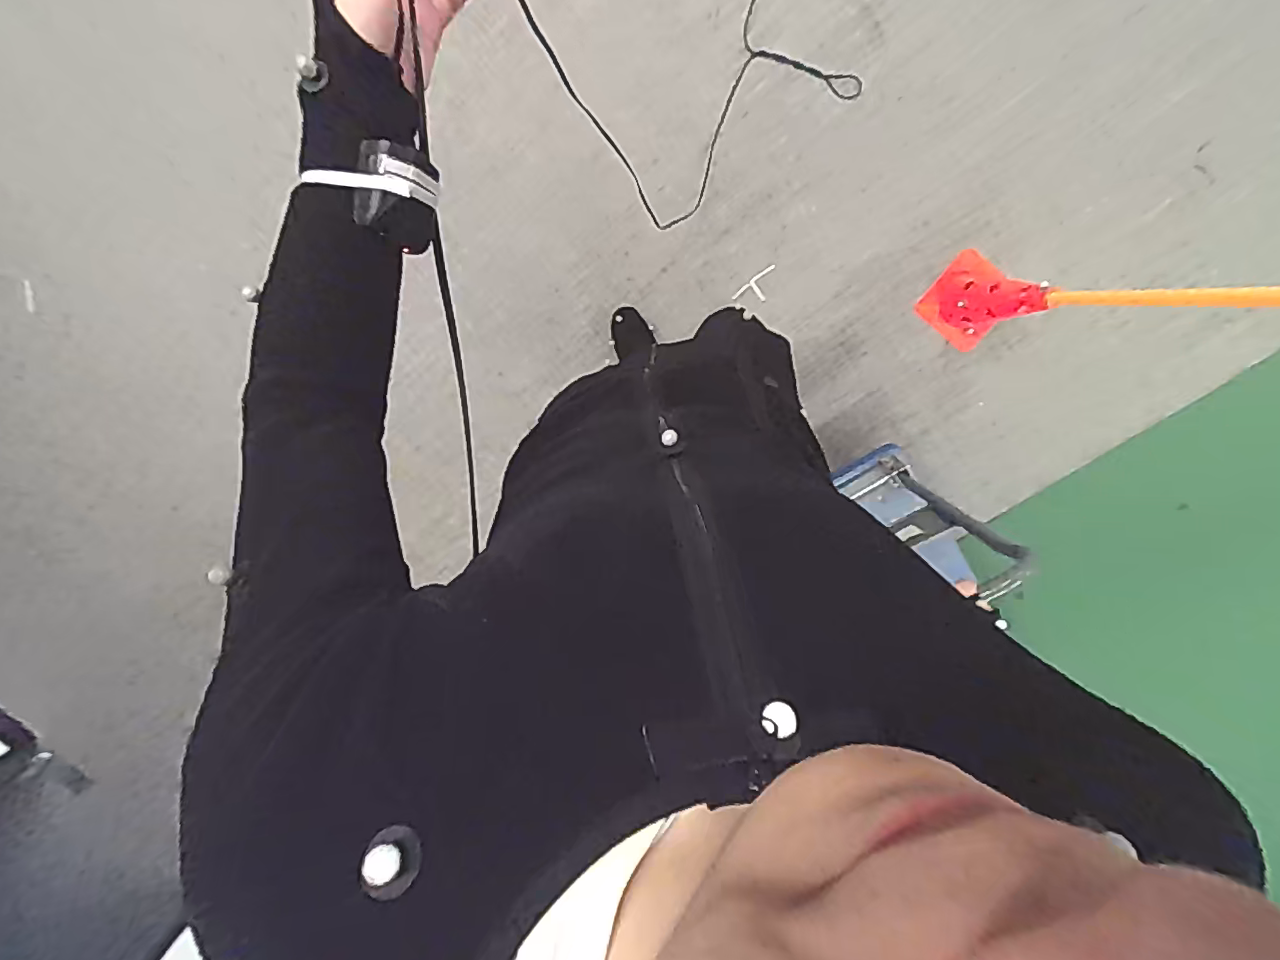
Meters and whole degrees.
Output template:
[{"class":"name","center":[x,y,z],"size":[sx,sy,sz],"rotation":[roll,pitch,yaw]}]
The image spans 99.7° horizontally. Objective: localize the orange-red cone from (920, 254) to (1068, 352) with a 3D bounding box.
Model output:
[{"class":"orange-red cone","center":[0.861,-0.418,1.266],"size":[0.198,0.360,0.199],"rotation":[37,105,-8]}]
